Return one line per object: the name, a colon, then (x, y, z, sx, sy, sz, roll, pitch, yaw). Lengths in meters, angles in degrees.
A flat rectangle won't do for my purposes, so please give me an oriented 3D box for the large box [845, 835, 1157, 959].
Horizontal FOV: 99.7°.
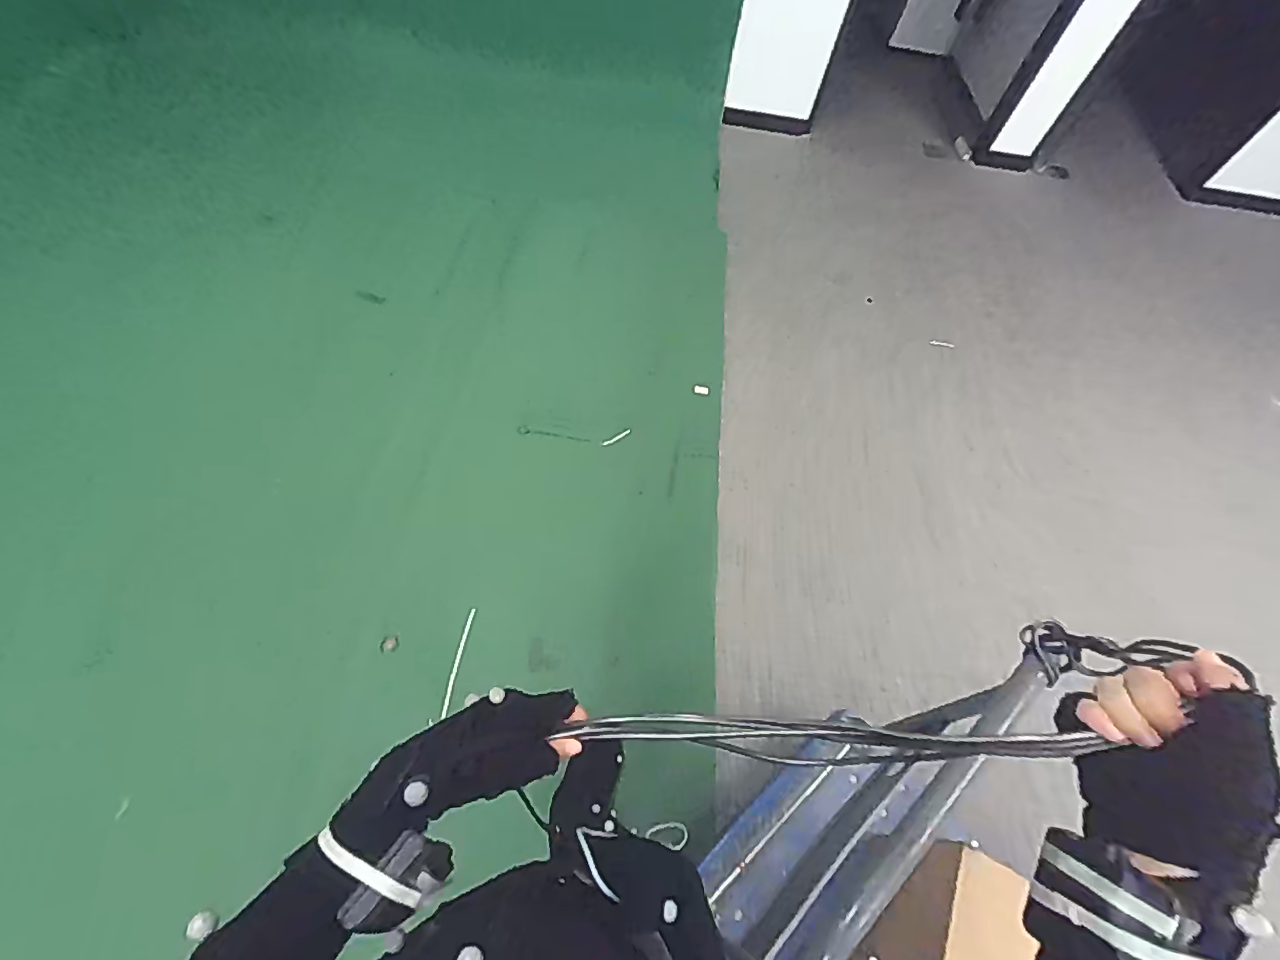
large box: (0.534, 0.859, 0.859, 0.320, 0.320, 0.408, 28, 59, 10)
